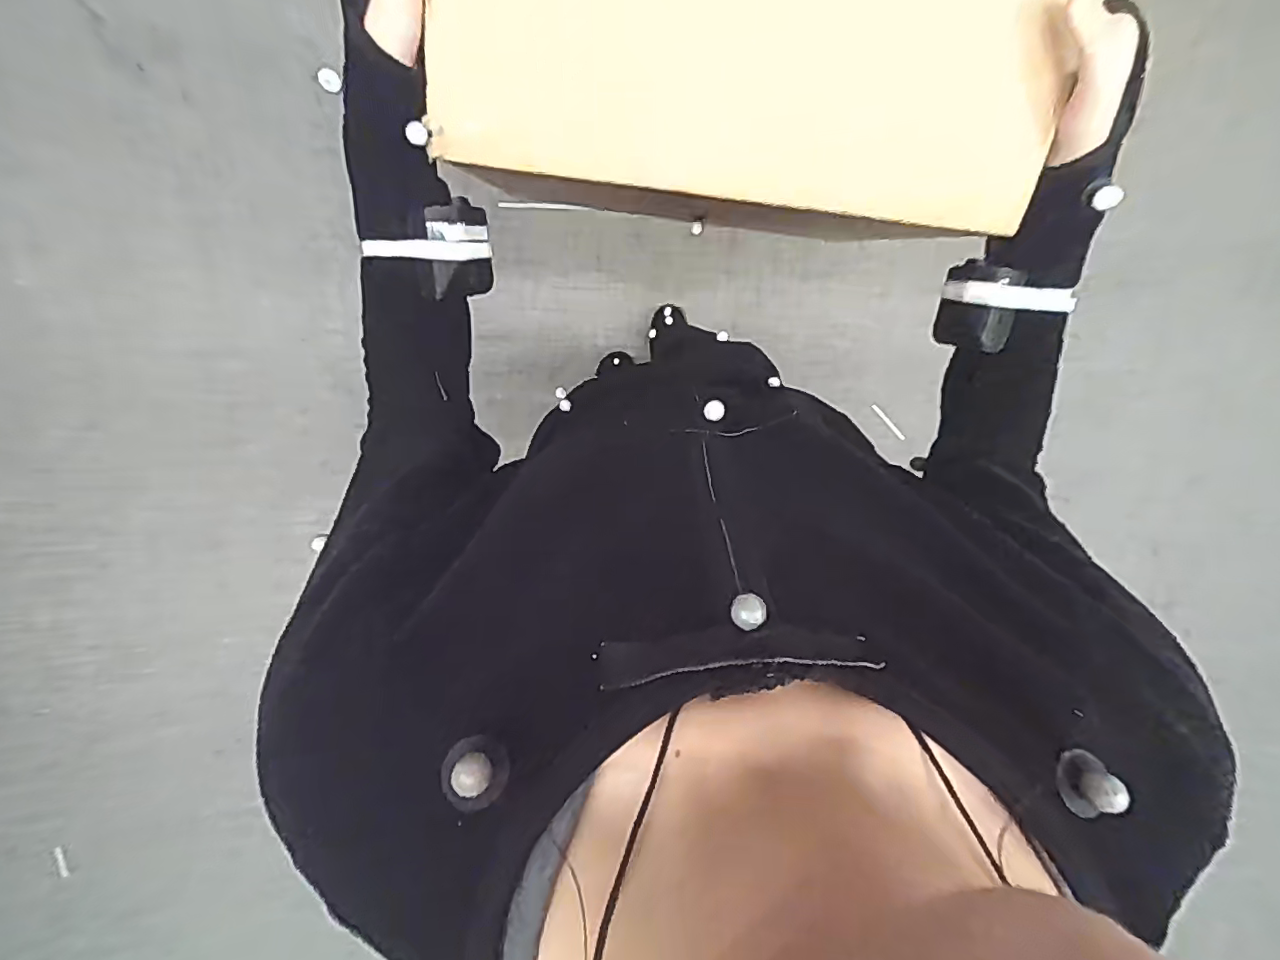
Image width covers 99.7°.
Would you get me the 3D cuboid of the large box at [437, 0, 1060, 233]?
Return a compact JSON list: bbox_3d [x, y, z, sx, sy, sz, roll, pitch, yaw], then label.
[{"bbox_3d":[0.072,-0.399,0.460,0.408,0.320,0.320,5,113,-5],"label":"large box"}]
